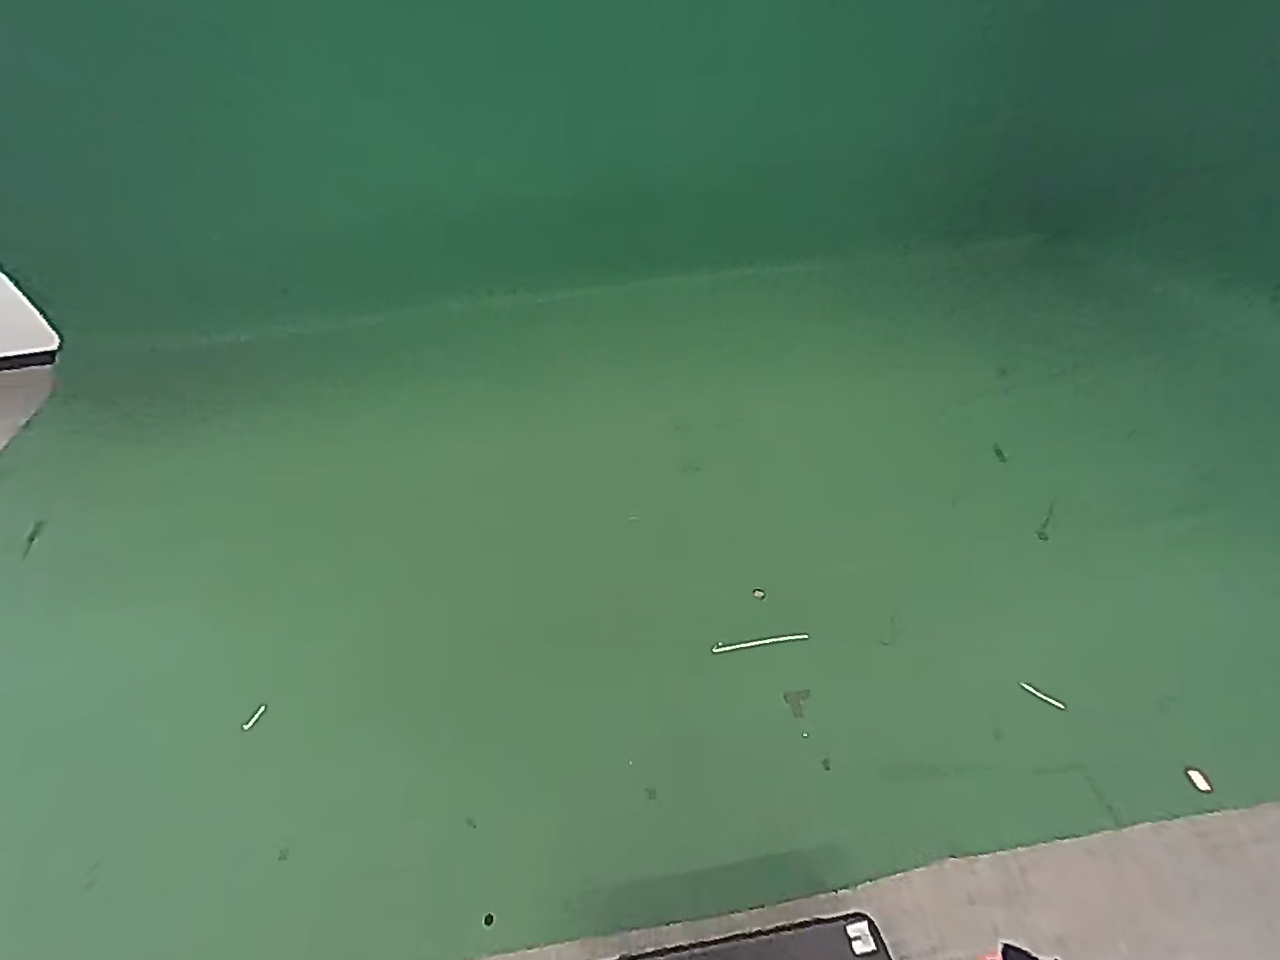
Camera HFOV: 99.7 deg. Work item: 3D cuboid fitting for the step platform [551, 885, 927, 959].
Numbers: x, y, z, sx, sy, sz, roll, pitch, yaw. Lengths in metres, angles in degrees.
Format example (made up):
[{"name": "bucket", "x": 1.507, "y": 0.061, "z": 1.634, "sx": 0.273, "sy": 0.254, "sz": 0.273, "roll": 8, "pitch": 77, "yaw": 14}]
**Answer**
[{"name": "step platform", "x": 0.174, "y": 0.961, "z": 0.963, "sx": 0.684, "sy": 0.204, "sz": 0.286, "roll": -9, "pitch": 48, "yaw": -3}]
